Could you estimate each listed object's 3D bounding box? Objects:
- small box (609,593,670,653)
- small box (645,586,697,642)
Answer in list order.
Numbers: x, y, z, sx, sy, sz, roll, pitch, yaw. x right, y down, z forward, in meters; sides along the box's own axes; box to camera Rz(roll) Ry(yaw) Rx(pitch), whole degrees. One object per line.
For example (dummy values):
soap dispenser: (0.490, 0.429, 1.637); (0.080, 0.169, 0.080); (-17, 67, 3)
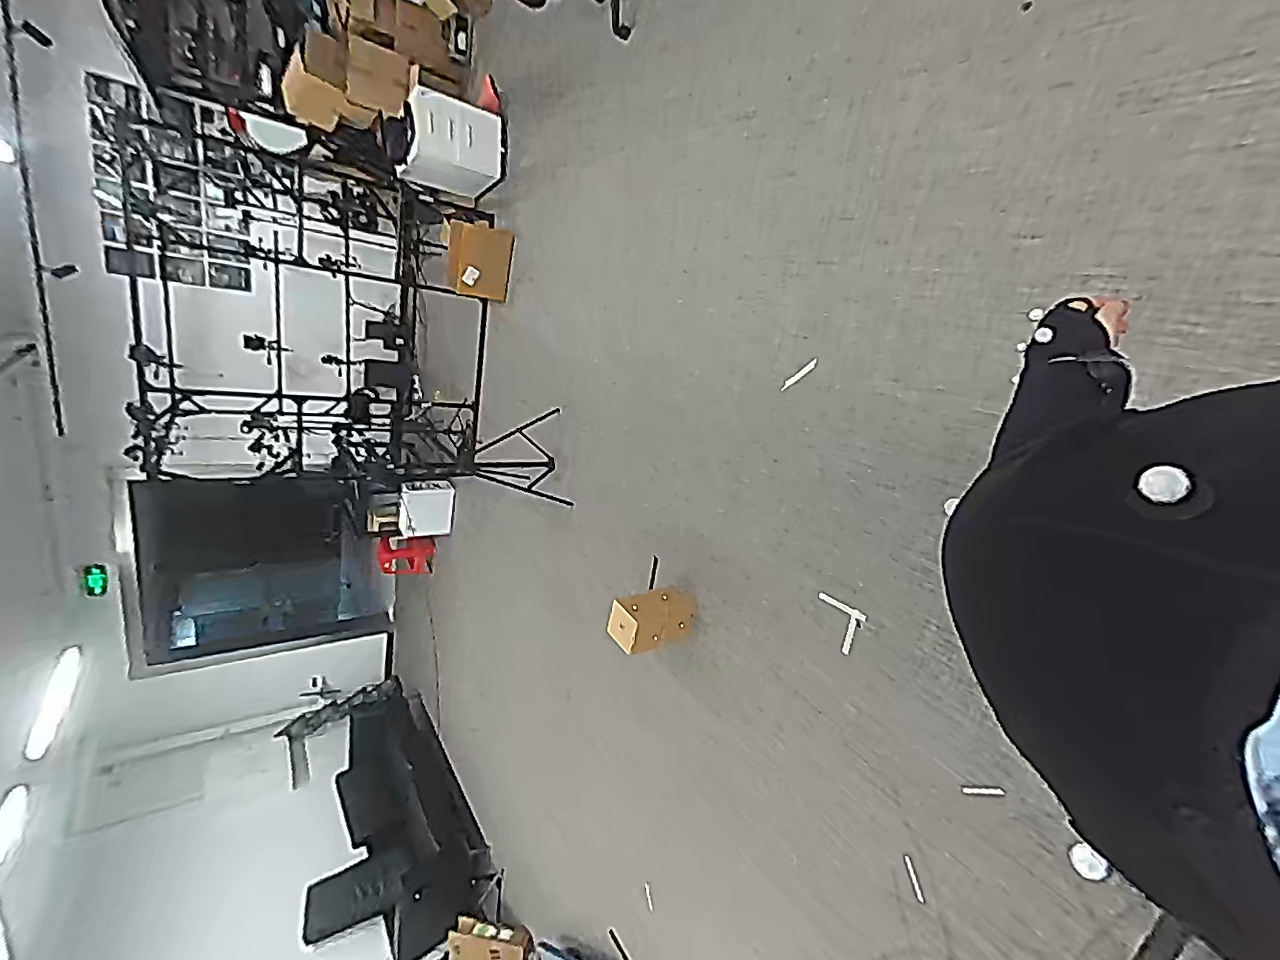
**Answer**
small box: (-0.003, 0.587, 2.242); (0.179, 0.176, 0.168); (35, 120, 46)
small box: (0.126, 0.573, 2.341); (0.179, 0.176, 0.168); (27, 113, 50)
